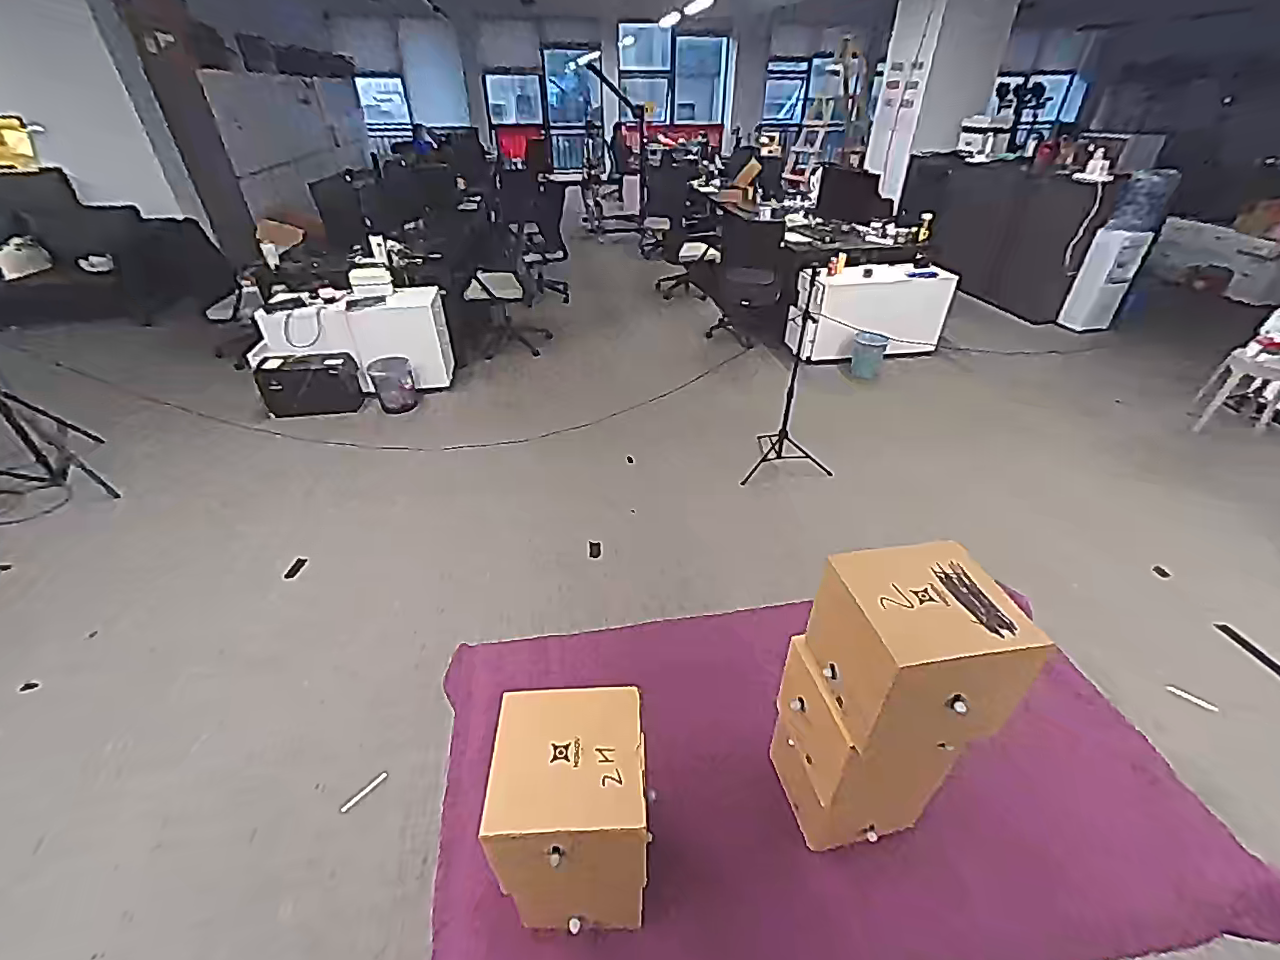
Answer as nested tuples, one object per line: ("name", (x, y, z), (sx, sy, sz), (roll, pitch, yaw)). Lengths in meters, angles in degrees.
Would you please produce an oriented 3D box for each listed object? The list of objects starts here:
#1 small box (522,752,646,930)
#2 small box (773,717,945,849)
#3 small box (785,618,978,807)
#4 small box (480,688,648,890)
("small box", (-0.075, 0.506, 0.773), (0.168, 0.176, 0.179), (0, 37, 0))
("small box", (0.331, 0.446, 0.855), (0.179, 0.176, 0.168), (-6, 34, -10))
("small box", (0.314, 0.322, 0.750), (0.179, 0.176, 0.168), (-7, 35, -10))
("small box", (-0.080, 0.380, 0.667), (0.179, 0.176, 0.168), (-1, 37, -2))
